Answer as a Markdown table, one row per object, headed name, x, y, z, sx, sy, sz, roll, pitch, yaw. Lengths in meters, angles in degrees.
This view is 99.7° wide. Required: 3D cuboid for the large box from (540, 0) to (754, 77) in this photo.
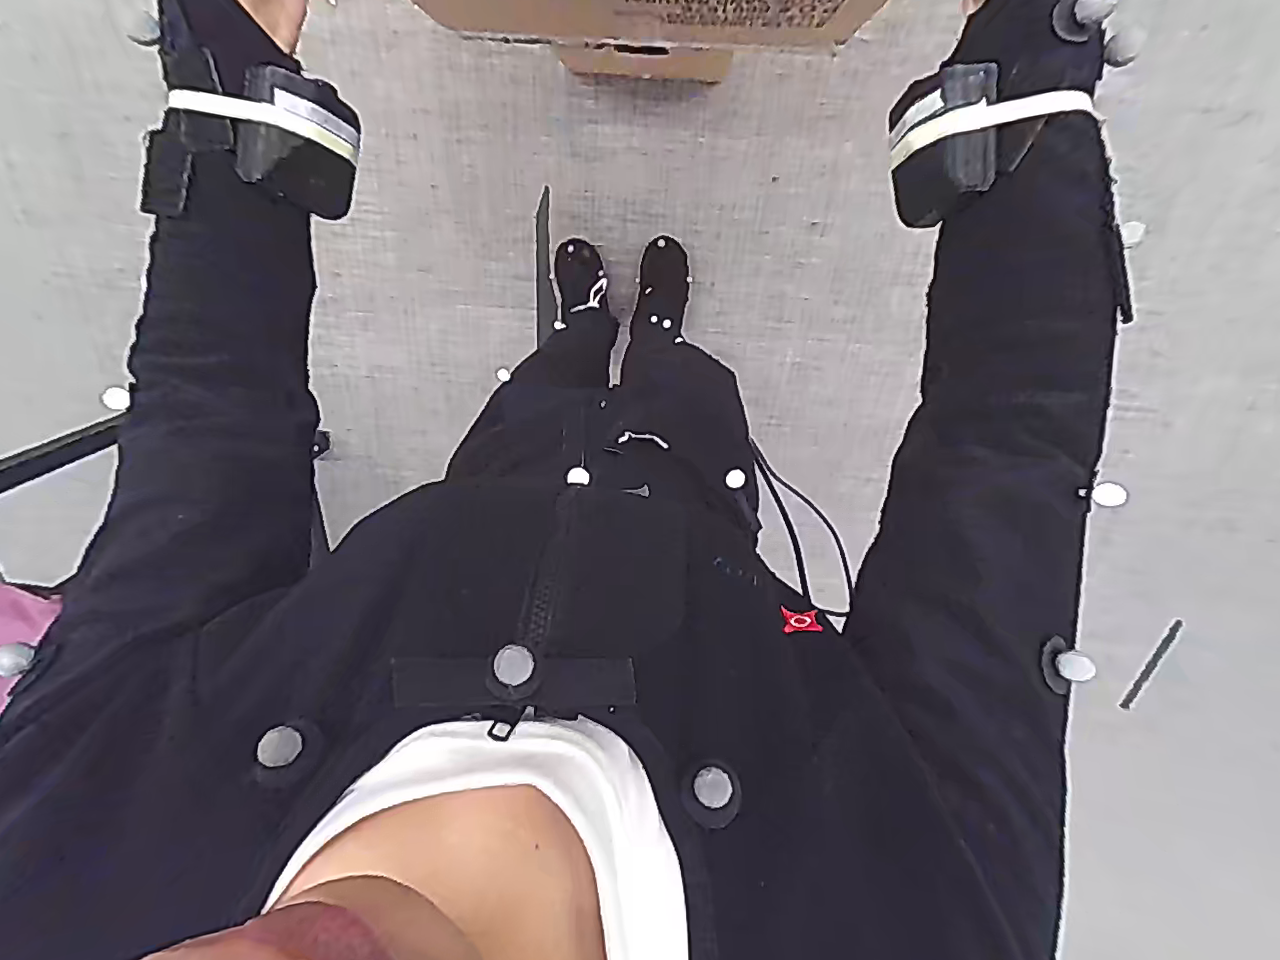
| name | x | y | z | sx | sy | sz | roll | pitch | yaw |
| --- | --- | --- | --- | --- | --- | --- | --- | --- | --- |
| large box | 0.021 | -0.896 | 0.828 | 0.320 | 0.320 | 0.408 | 4 | 118 | 3 |
